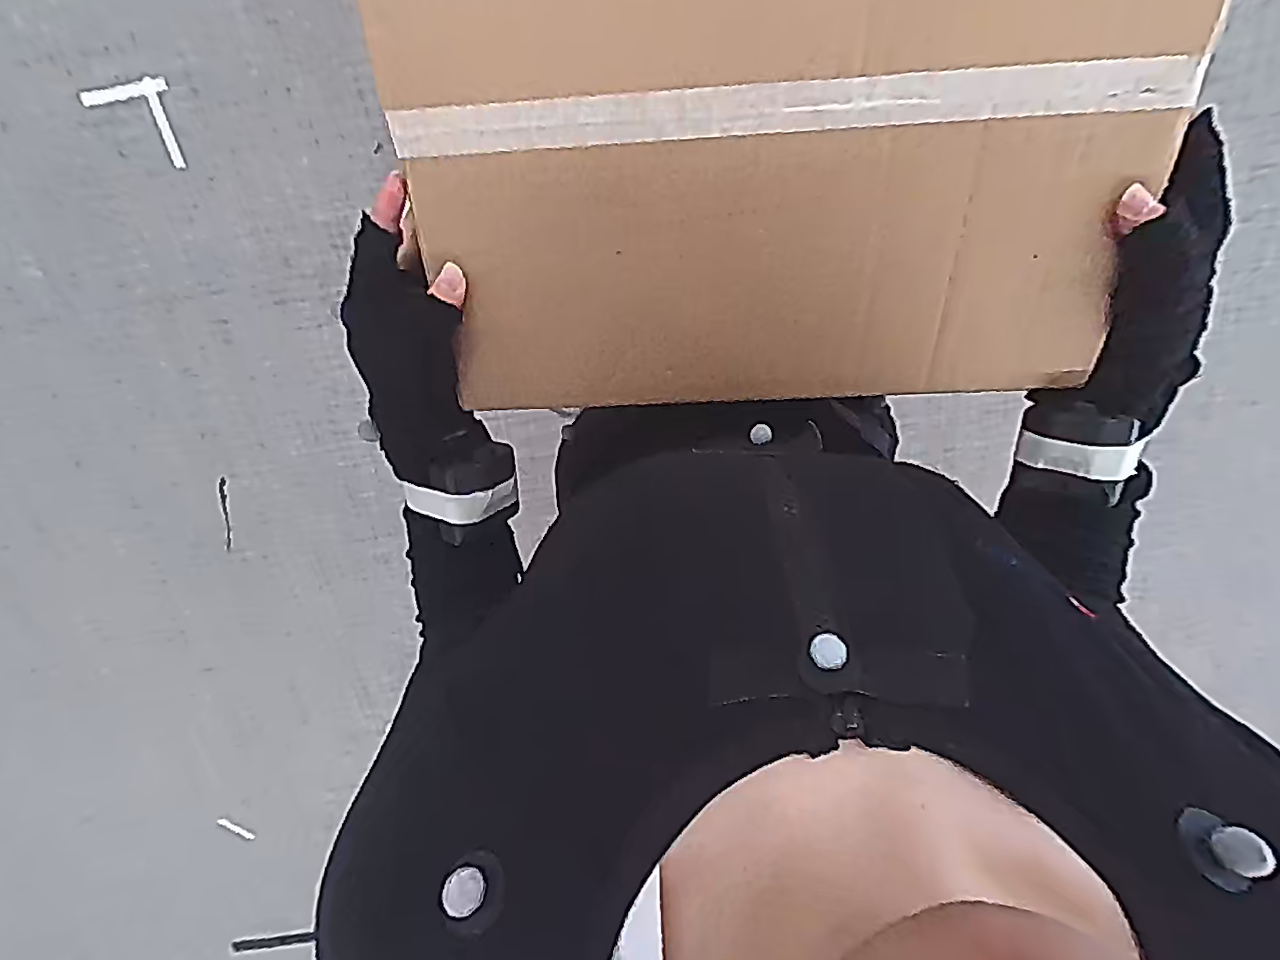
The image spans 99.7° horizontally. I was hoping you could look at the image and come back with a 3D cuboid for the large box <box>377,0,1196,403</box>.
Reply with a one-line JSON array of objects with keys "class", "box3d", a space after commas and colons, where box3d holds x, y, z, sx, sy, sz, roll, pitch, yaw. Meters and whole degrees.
[{"class": "large box", "box3d": [0.072, -0.268, 0.416, 0.408, 0.320, 0.320, -2, 121, 2]}]
